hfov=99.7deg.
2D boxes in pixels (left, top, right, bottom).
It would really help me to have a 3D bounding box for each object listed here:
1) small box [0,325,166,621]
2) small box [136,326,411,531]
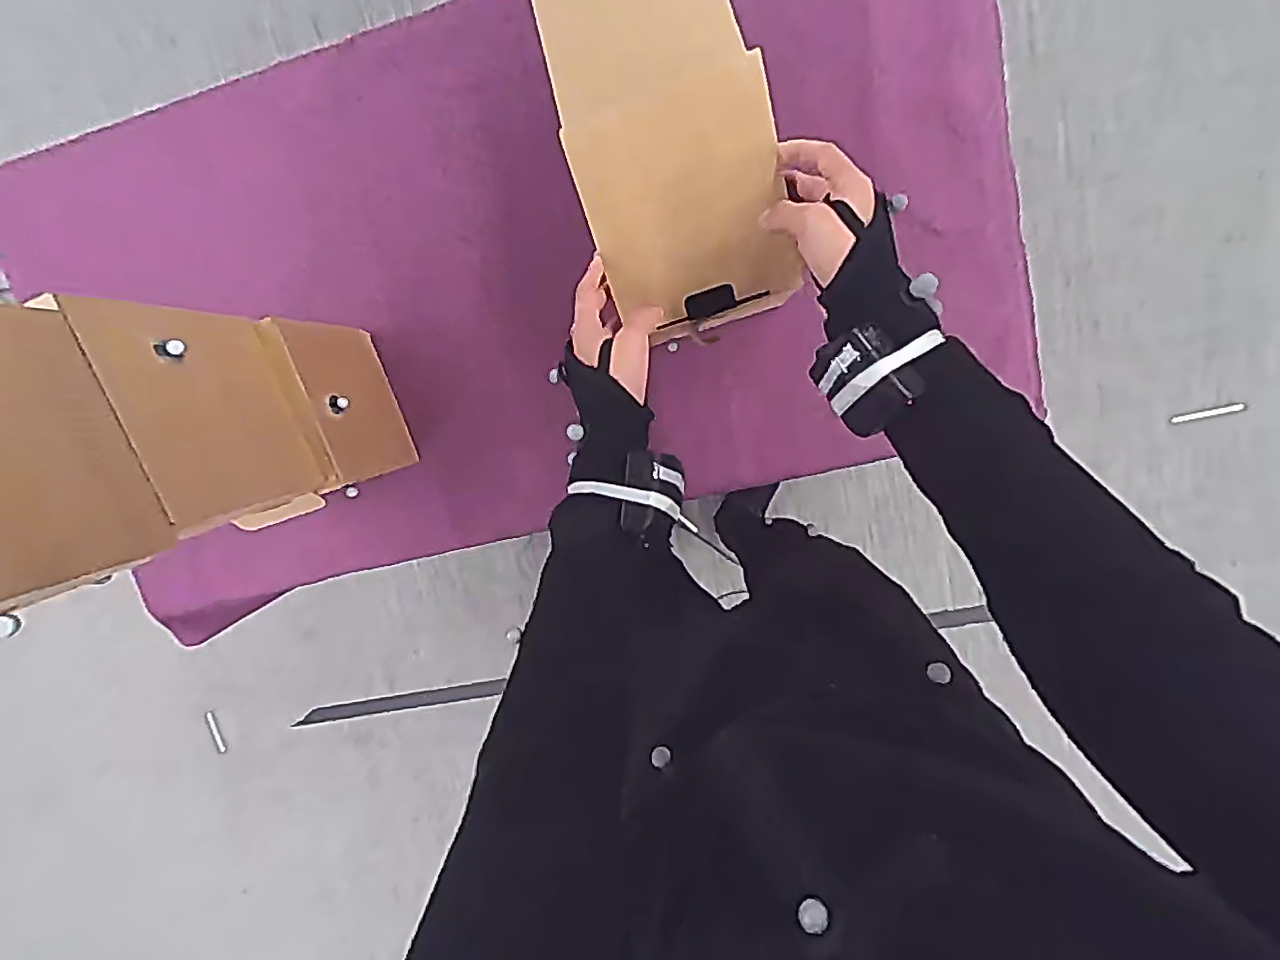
[{"bbox_3d":[-0.439,0.011,0.304,0.168,0.176,0.179,-20,98,9],"label":"small box"},{"bbox_3d":[-0.398,-0.063,0.624,0.168,0.176,0.179,-17,99,8],"label":"small box"}]
